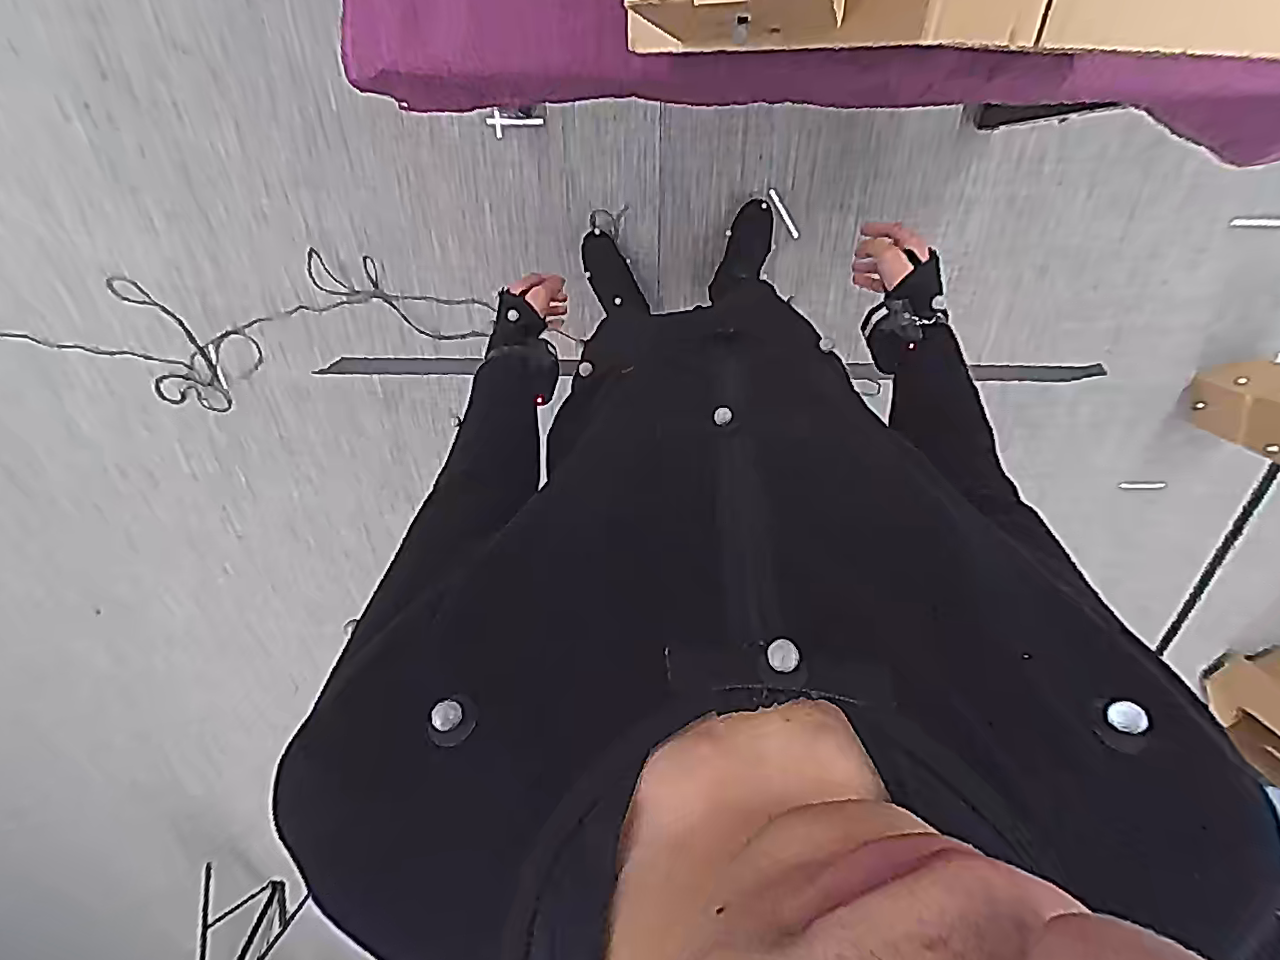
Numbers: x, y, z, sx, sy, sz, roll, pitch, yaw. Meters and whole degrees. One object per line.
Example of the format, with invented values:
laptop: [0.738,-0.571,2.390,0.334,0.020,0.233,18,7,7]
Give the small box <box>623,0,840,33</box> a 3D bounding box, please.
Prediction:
small box: [0.088,-0.491,0.443,0.168,0.176,0.179,10,122,17]
